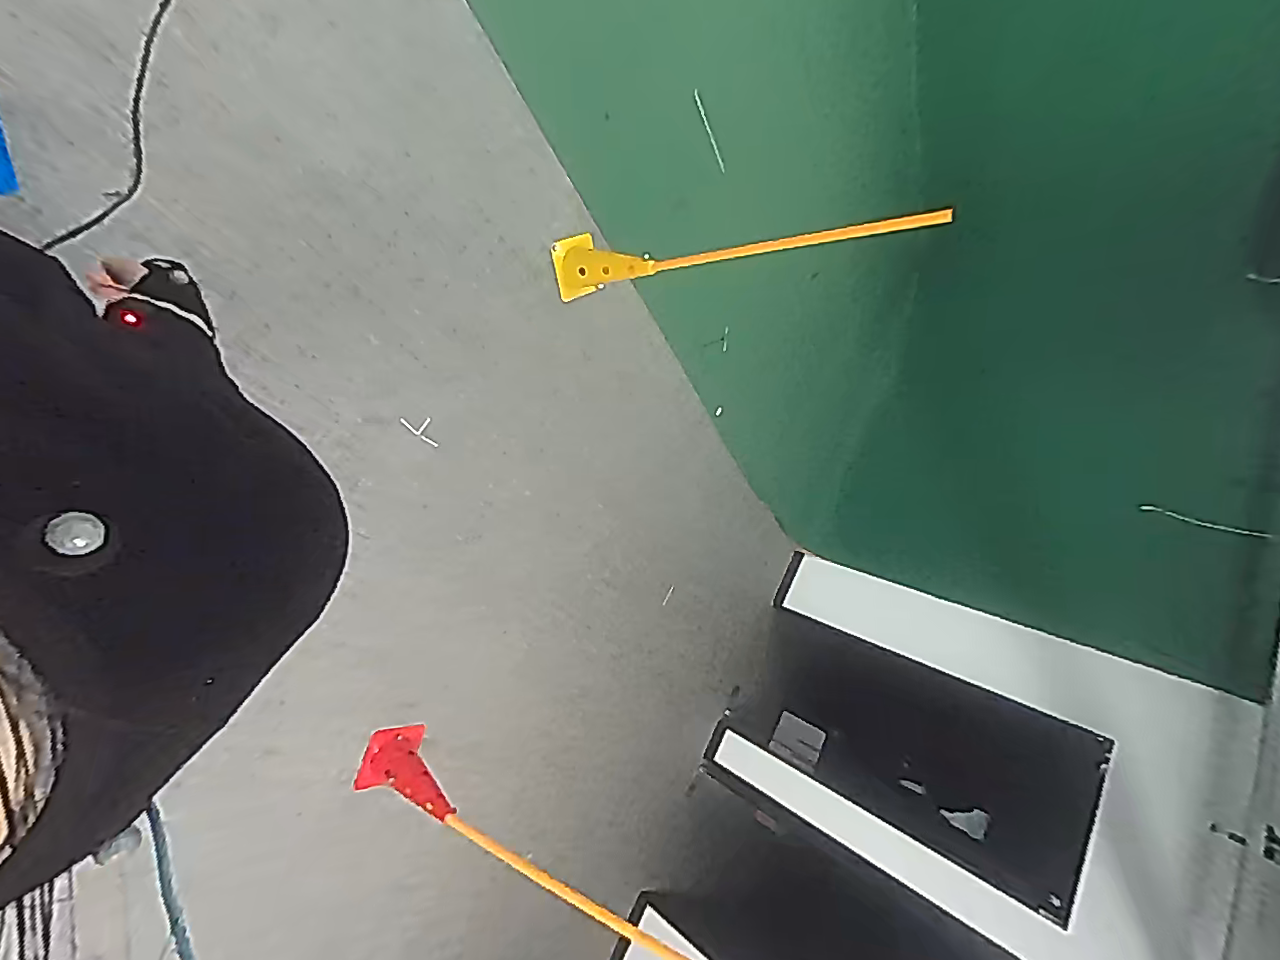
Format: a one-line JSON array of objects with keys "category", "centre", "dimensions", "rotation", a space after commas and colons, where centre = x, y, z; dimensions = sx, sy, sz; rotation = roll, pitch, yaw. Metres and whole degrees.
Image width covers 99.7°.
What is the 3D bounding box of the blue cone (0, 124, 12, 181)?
[{"category": "blue cone", "centre": [-1.019, -0.526, 0.738], "dimensions": [0.193, 0.380, 0.192], "rotation": [-19, 119, -44]}]
